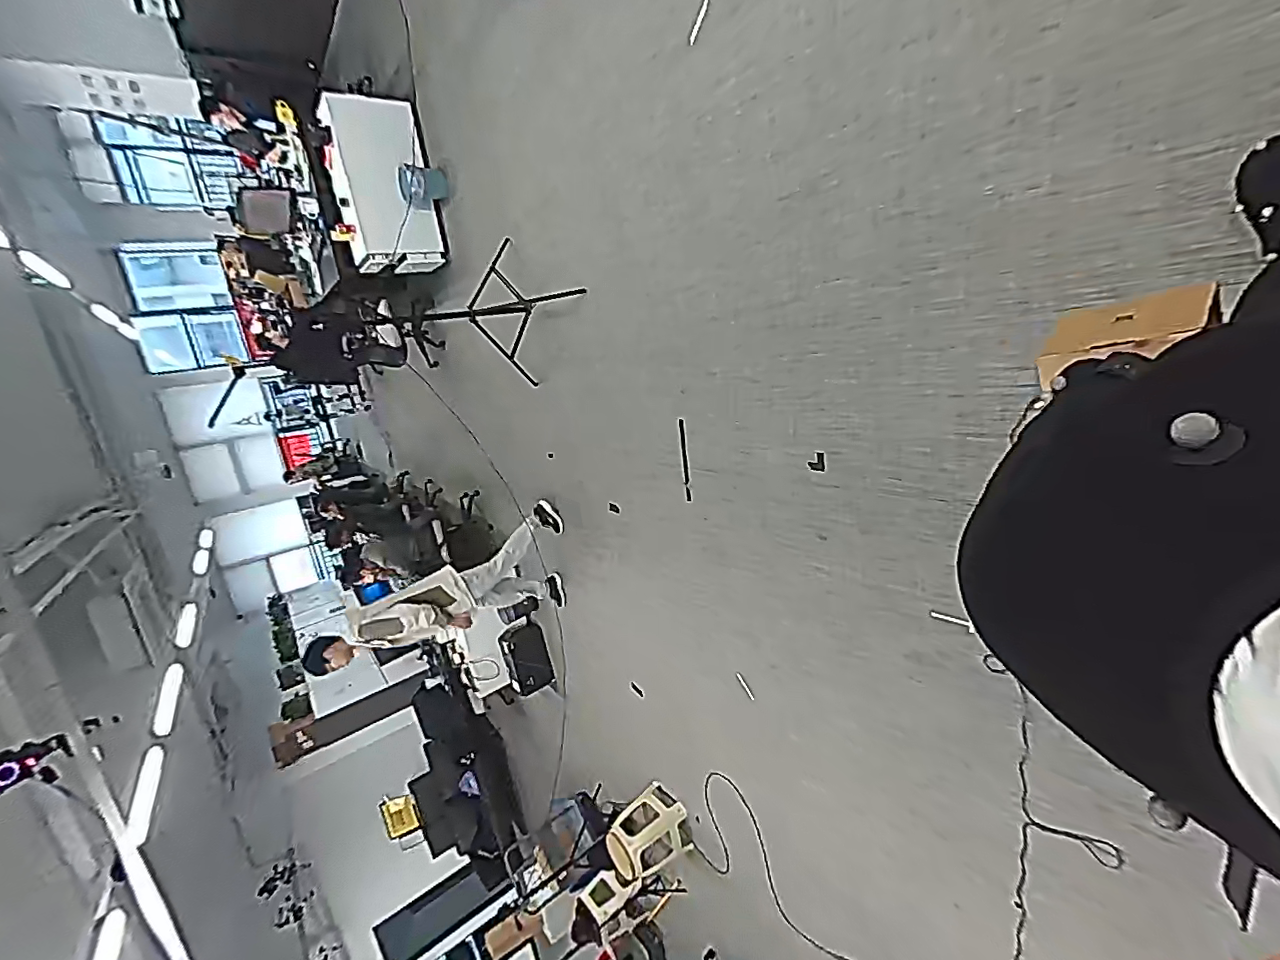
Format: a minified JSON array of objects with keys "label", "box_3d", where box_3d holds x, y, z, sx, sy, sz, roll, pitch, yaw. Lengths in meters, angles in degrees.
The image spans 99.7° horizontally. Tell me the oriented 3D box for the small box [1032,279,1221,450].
[{"label":"small box","box_3d":[0.687,-0.151,0.761,0.168,0.179,0.176,0,122,52]}]
